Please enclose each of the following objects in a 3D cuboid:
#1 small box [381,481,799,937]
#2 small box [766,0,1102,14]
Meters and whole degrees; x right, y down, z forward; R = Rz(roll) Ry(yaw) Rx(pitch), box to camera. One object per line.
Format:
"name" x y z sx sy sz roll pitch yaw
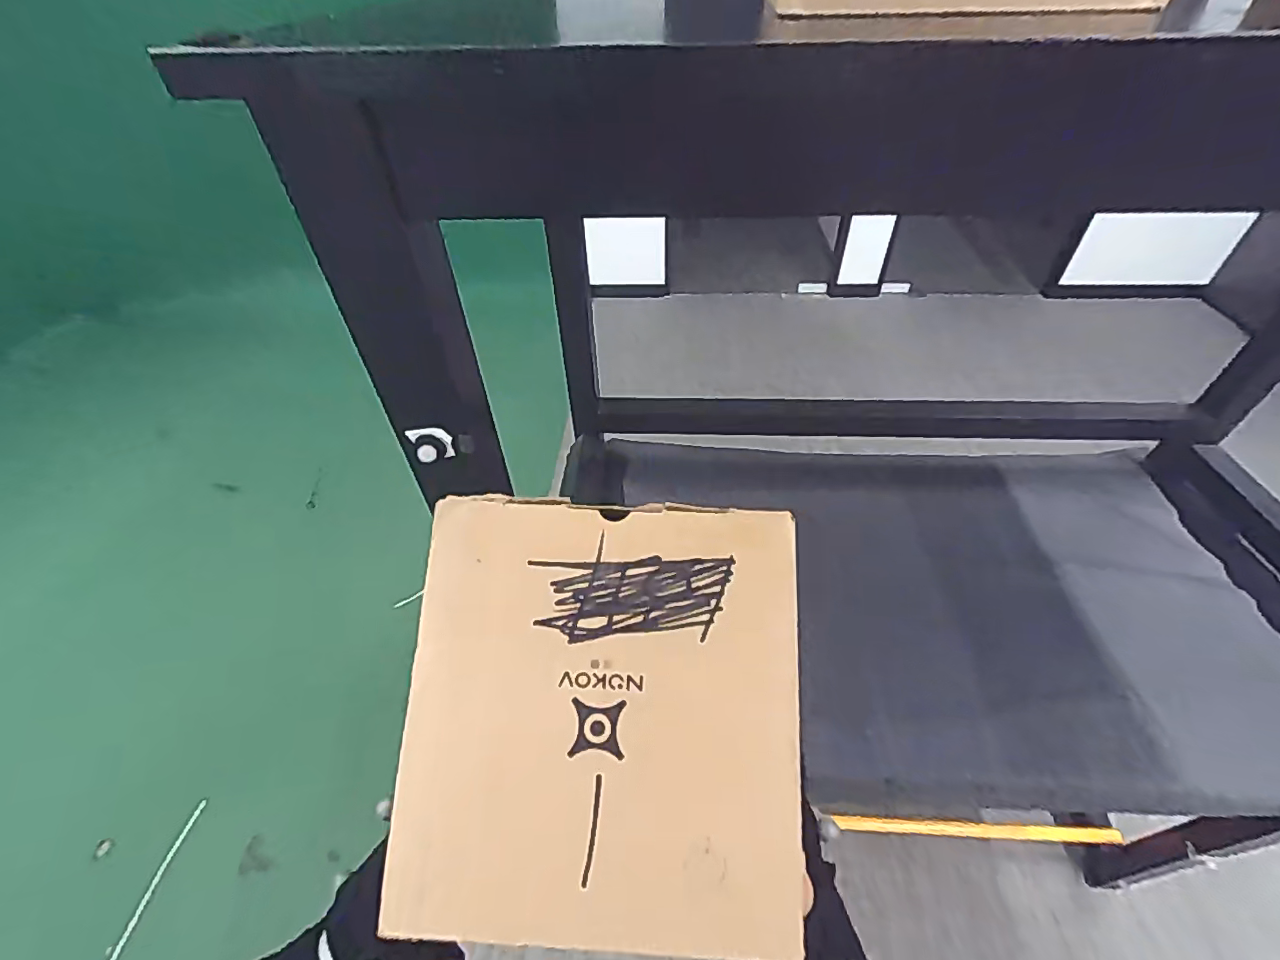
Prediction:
"small box" -0.015 0.109 0.308 0.168 0.176 0.179 2 75 2
"small box" 0.150 -0.330 0.250 0.168 0.176 0.179 4 44 6
